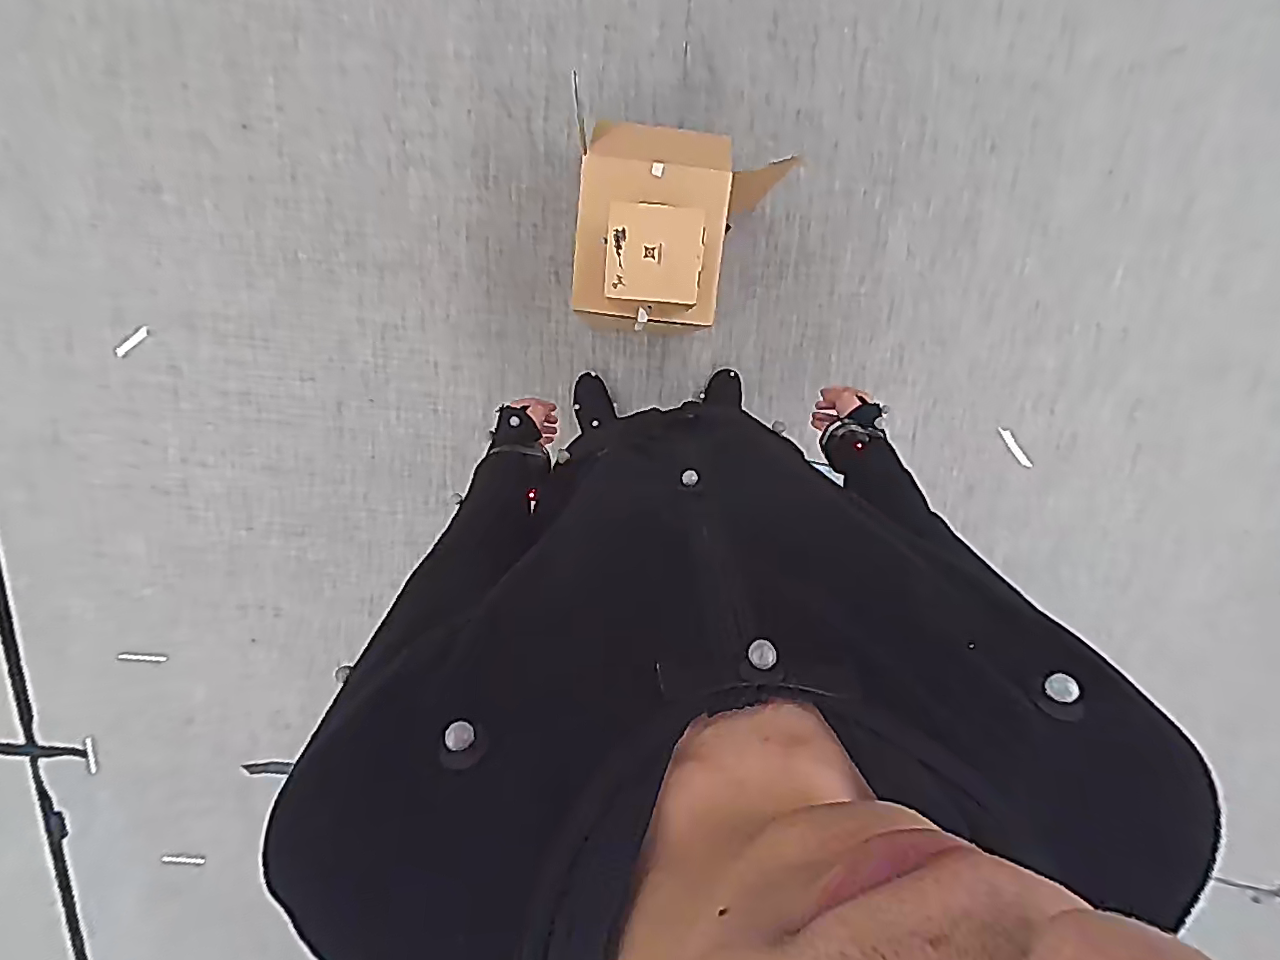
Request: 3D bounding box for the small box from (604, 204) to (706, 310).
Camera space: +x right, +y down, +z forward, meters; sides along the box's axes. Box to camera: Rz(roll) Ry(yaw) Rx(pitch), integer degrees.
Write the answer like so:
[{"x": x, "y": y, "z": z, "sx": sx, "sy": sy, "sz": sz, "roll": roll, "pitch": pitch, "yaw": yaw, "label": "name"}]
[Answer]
[{"x": 0.024, "y": -0.431, "z": 1.071, "sx": 0.179, "sy": 0.176, "sz": 0.168, "roll": 5, "pitch": 104, "yaw": -2, "label": "small box"}]
